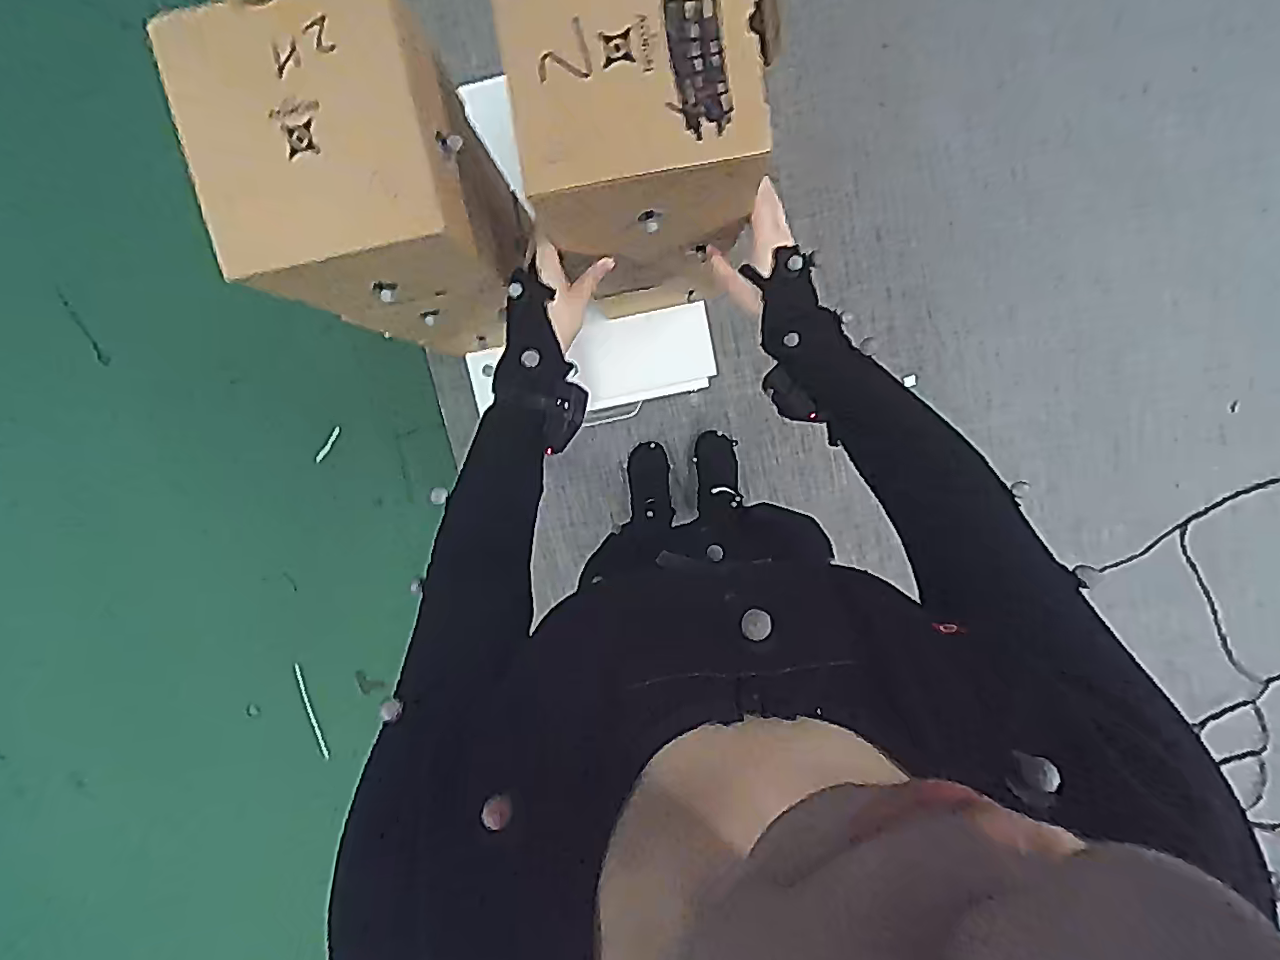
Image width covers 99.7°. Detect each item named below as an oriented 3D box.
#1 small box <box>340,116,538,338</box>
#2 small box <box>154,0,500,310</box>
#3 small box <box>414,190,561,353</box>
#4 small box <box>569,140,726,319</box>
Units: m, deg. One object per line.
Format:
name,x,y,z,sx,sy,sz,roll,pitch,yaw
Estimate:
small box,-0.232,-0.267,0.615,0.179,0.176,0.168,-12,98,2
small box,-0.230,-0.250,0.452,0.168,0.176,0.179,-12,98,1
small box,-0.226,-0.286,0.779,0.179,0.176,0.168,-11,98,2
small box,0.014,-0.338,0.764,0.179,0.176,0.168,-12,96,6
